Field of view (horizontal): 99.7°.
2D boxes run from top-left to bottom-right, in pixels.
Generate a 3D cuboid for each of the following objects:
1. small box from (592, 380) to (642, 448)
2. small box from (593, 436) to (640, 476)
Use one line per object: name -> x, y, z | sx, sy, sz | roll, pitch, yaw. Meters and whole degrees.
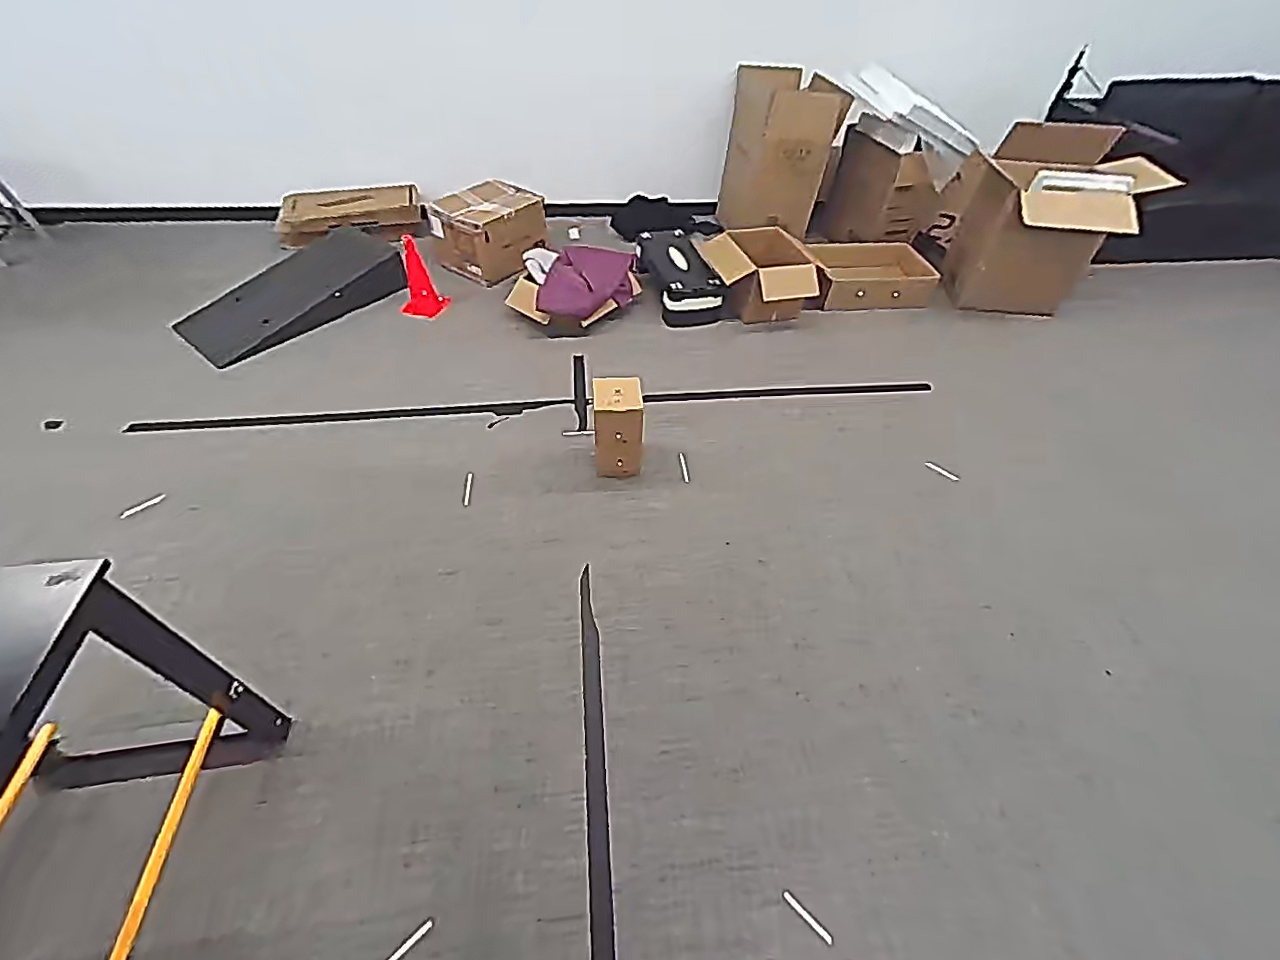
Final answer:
small box -> -0.086, -0.233, 1.902 | 0.168, 0.176, 0.179 | -3, 49, -5
small box -> -0.089, -0.127, 2.030 | 0.168, 0.176, 0.179 | -4, 49, -6
